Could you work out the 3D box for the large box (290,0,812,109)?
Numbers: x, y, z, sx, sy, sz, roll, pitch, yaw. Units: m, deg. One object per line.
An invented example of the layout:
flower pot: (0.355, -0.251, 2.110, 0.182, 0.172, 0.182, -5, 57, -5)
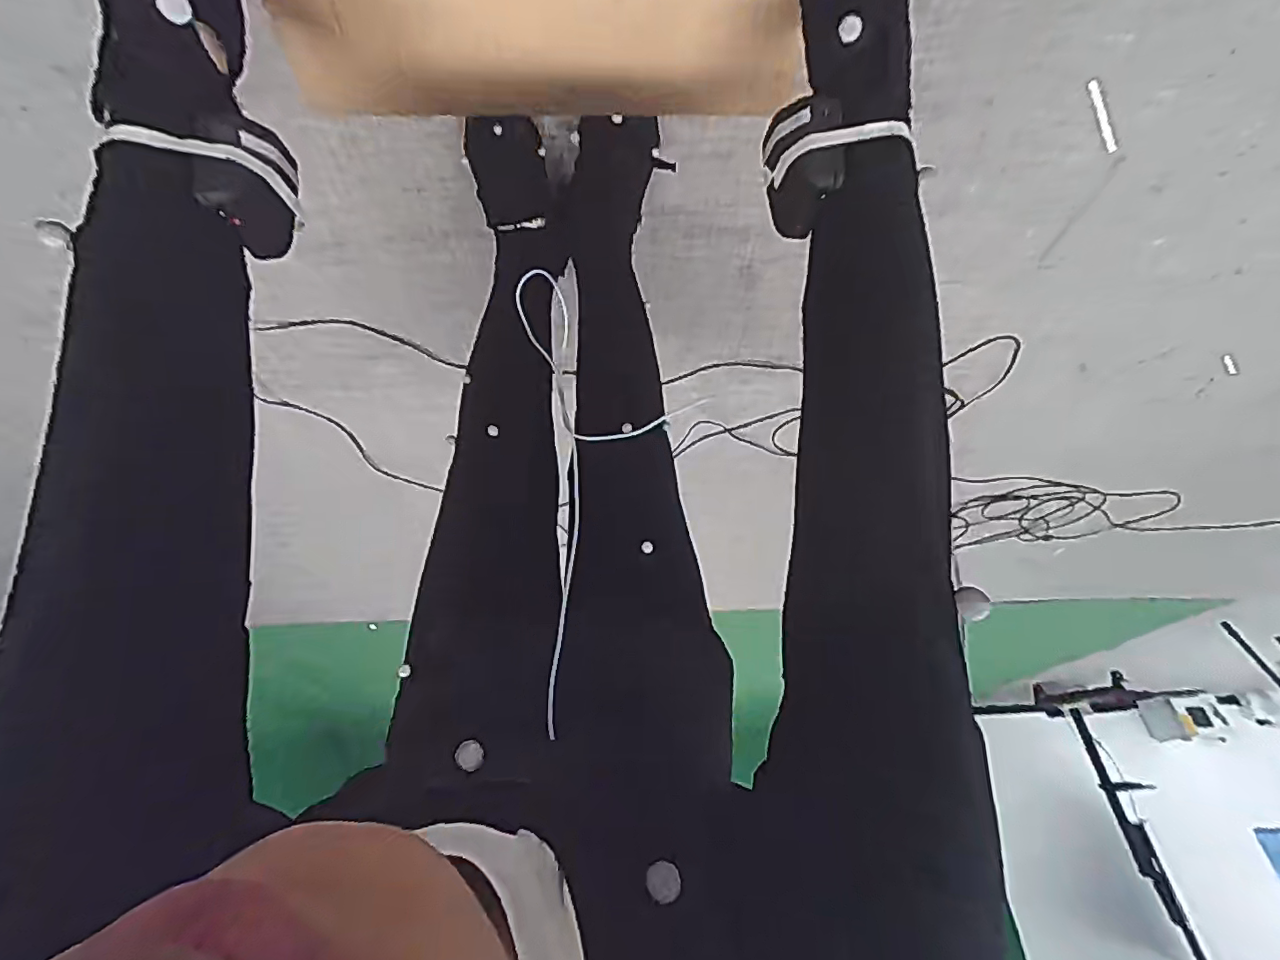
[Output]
large box: (-0.070, -0.534, 0.423, 0.408, 0.320, 0.320, 0, 147, 0)
